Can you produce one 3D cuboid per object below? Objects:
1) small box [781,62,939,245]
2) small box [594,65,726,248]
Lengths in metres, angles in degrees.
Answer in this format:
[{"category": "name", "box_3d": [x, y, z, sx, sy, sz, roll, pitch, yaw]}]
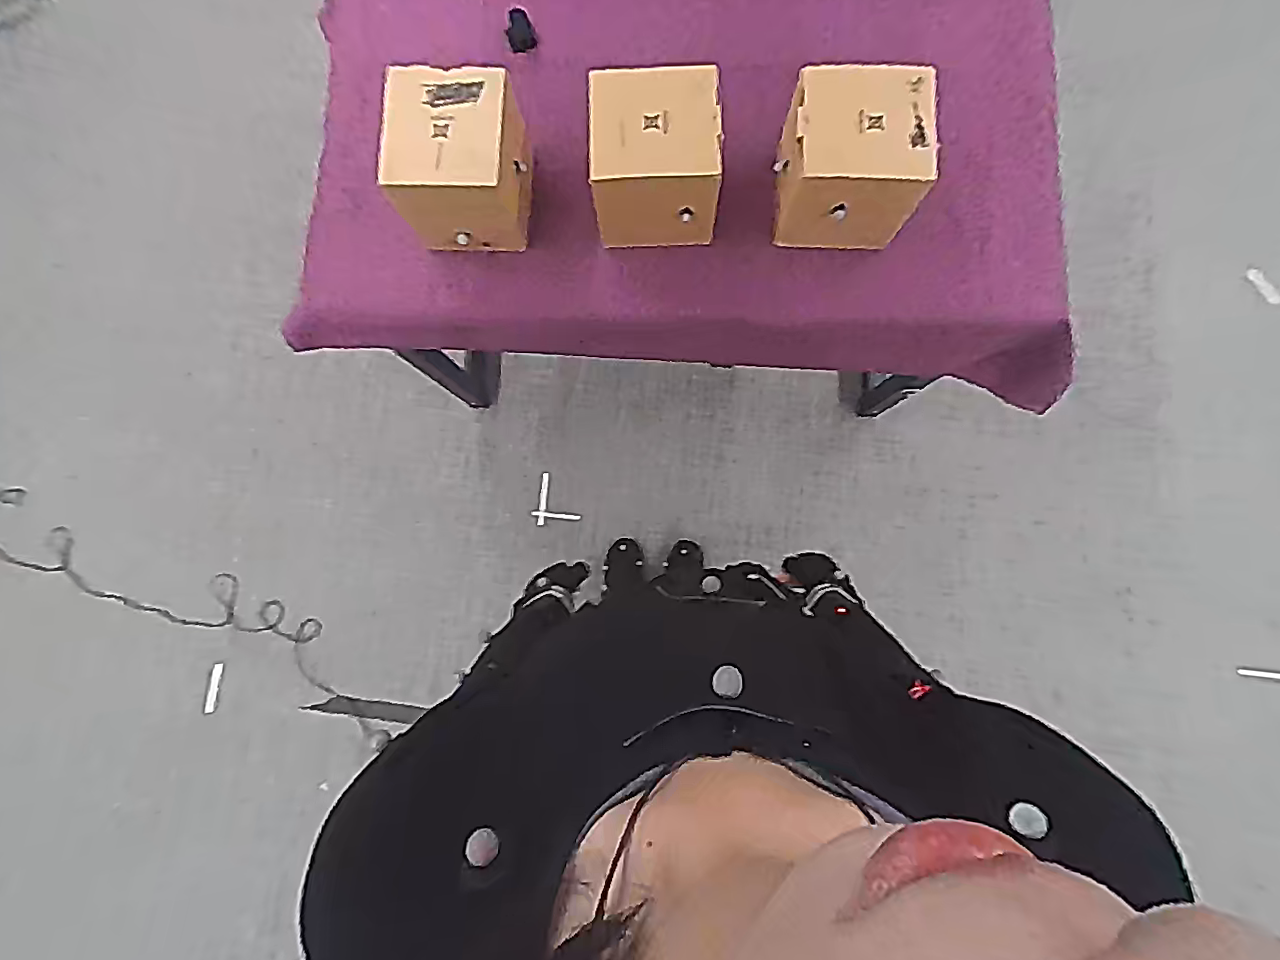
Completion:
[{"category": "small box", "box_3d": [0.308, -0.463, 0.789, 0.179, 0.176, 0.168, 3, 83, 4]}, {"category": "small box", "box_3d": [0.029, -0.468, 0.804, 0.179, 0.176, 0.168, -2, 81, 3]}]
